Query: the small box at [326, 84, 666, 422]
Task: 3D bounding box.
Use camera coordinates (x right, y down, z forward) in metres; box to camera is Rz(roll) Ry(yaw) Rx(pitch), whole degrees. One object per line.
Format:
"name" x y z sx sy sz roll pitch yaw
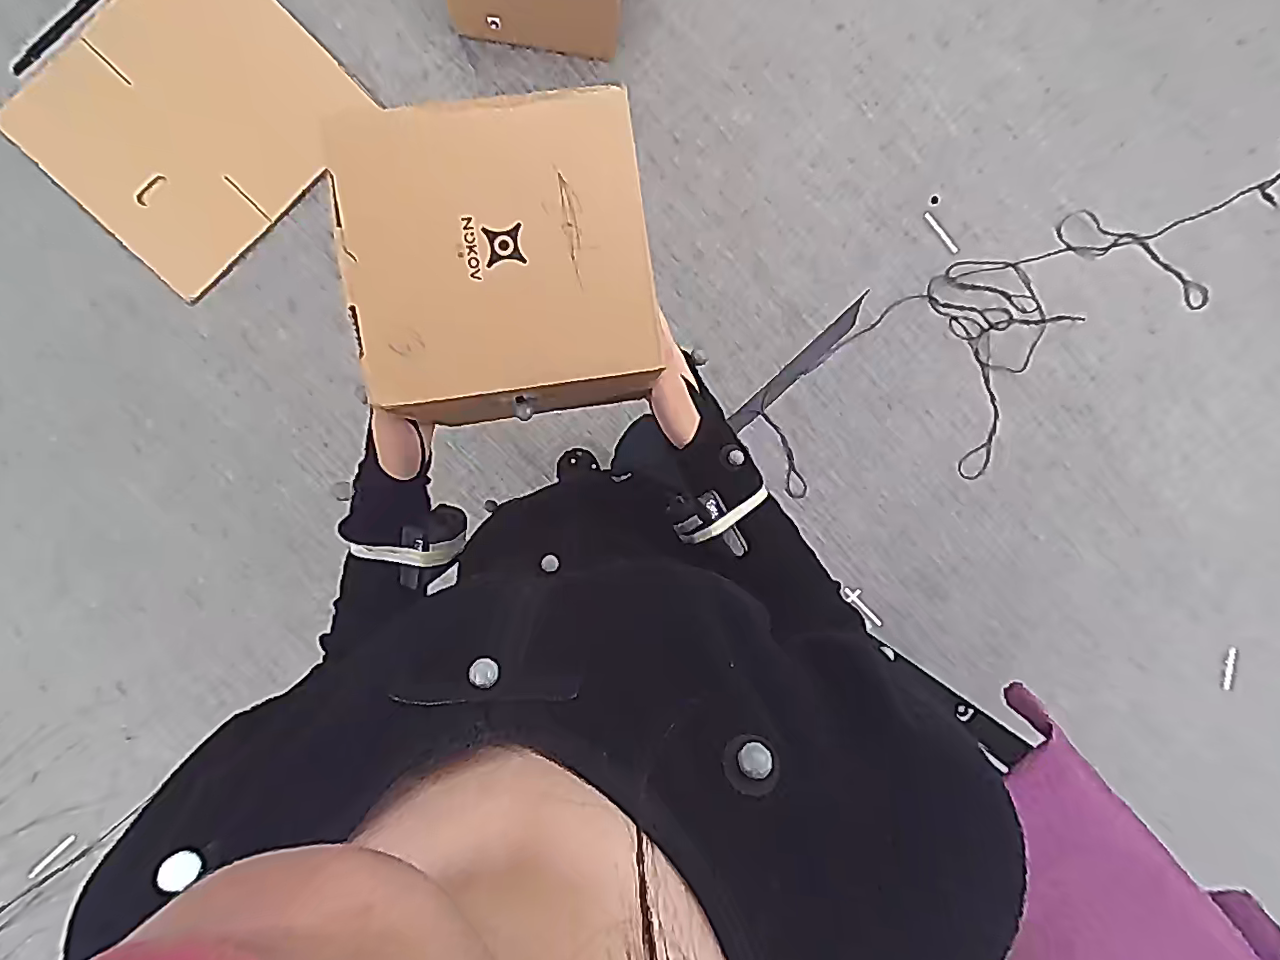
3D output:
"small box" -0.085 -0.138 0.390 0.179 0.176 0.168 -9 93 -4
